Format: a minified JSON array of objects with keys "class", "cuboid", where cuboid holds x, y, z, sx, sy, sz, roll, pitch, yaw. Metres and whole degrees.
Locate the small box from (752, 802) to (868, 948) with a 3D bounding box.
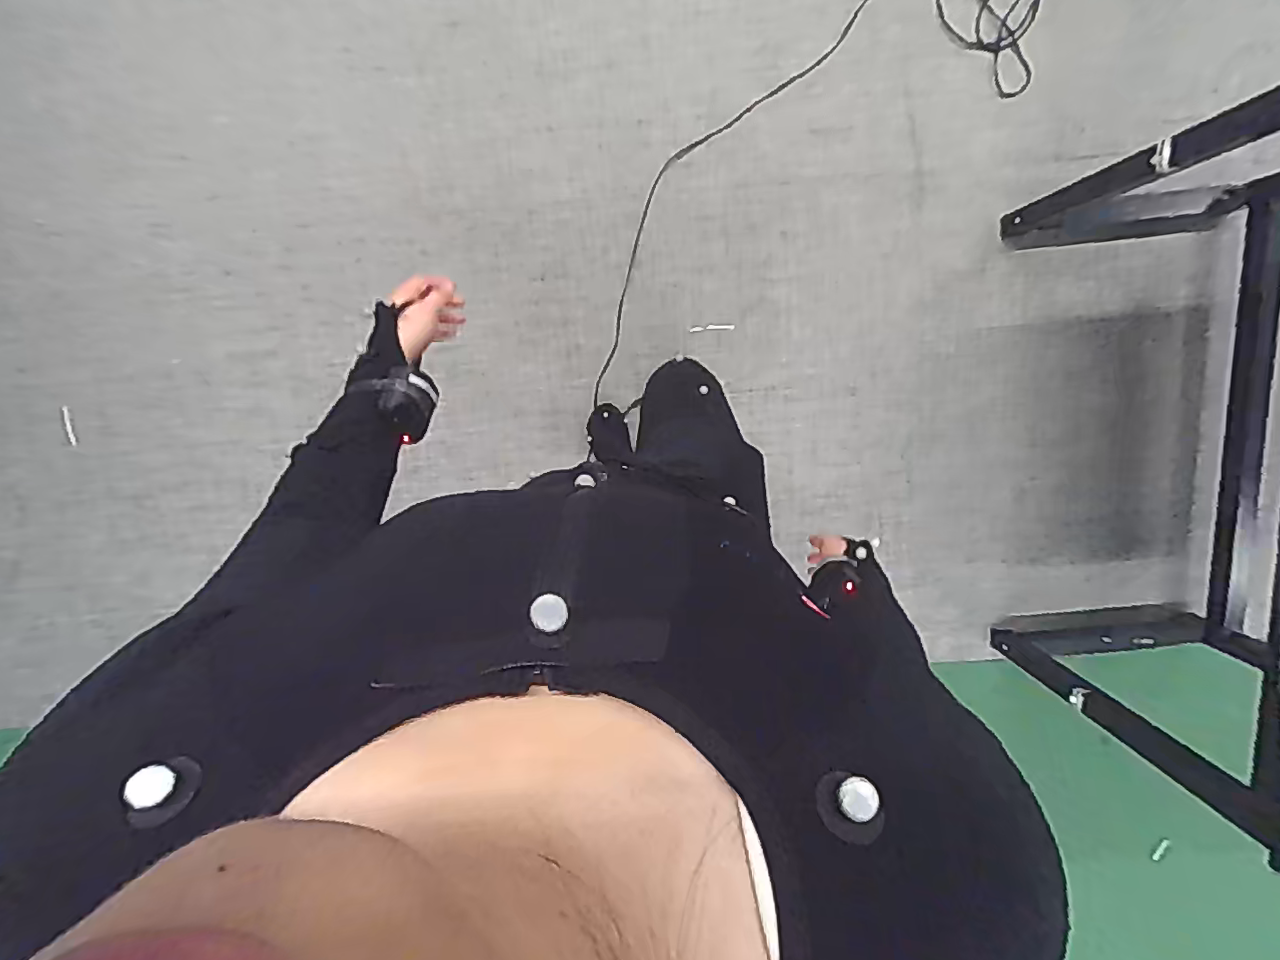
[{"class":"small box","cuboid":[0.373,0.876,1.214,0.168,0.176,0.179,-29,98,5]}]
